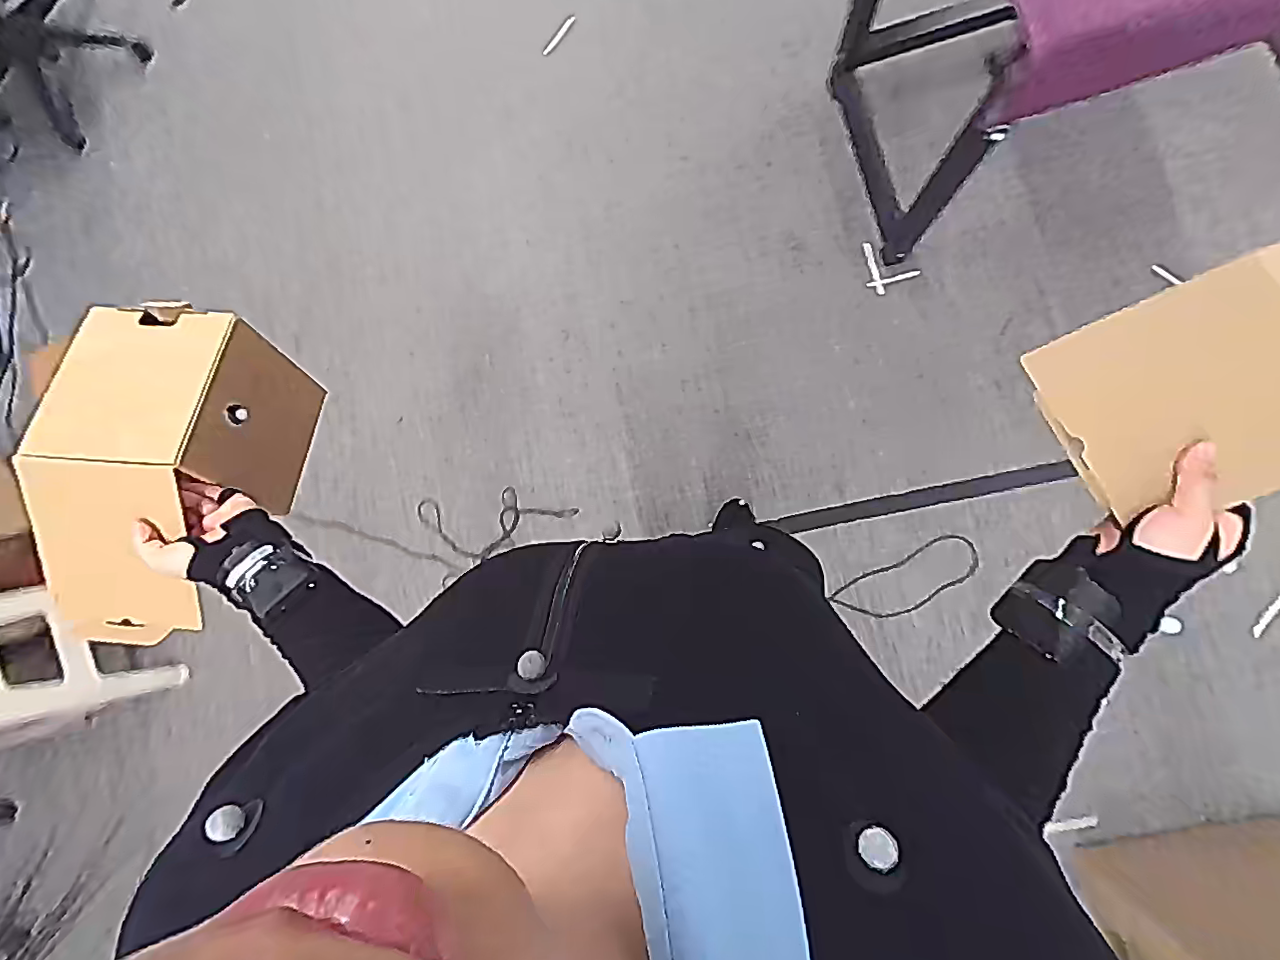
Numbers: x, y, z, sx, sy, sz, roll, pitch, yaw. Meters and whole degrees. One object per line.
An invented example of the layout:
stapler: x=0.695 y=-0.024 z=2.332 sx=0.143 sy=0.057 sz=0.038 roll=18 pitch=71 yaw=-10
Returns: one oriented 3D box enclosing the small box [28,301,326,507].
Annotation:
small box: x=-0.498 y=-0.077 z=0.618 sx=0.168 sy=0.176 sz=0.179 roll=5 pitch=69 yaw=4
